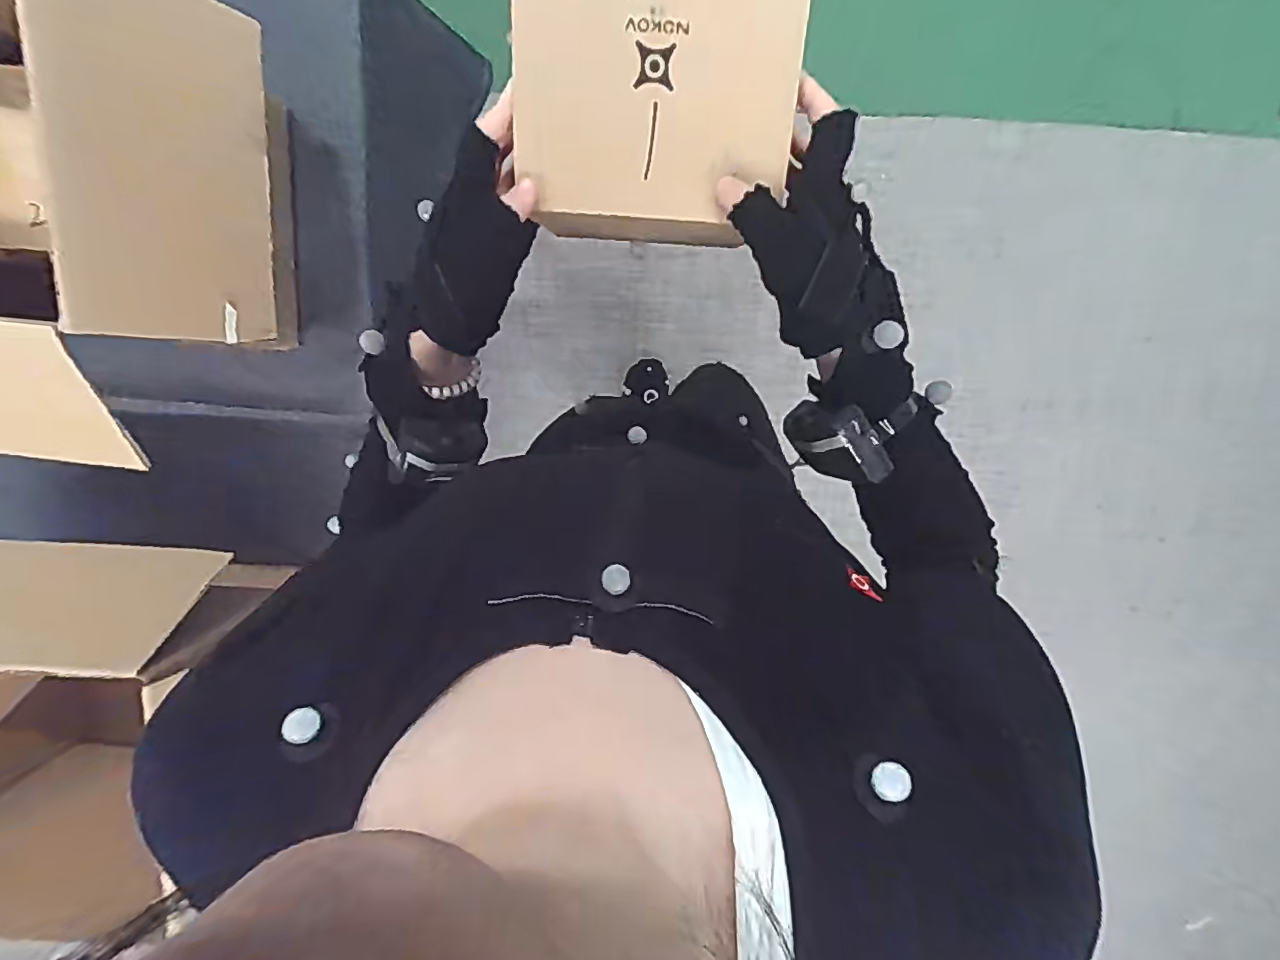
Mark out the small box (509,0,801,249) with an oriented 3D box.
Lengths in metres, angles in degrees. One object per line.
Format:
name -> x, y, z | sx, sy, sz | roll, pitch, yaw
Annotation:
small box -> 0.005, -0.273, 0.388 | 0.168, 0.176, 0.179 | 4, 109, -2
